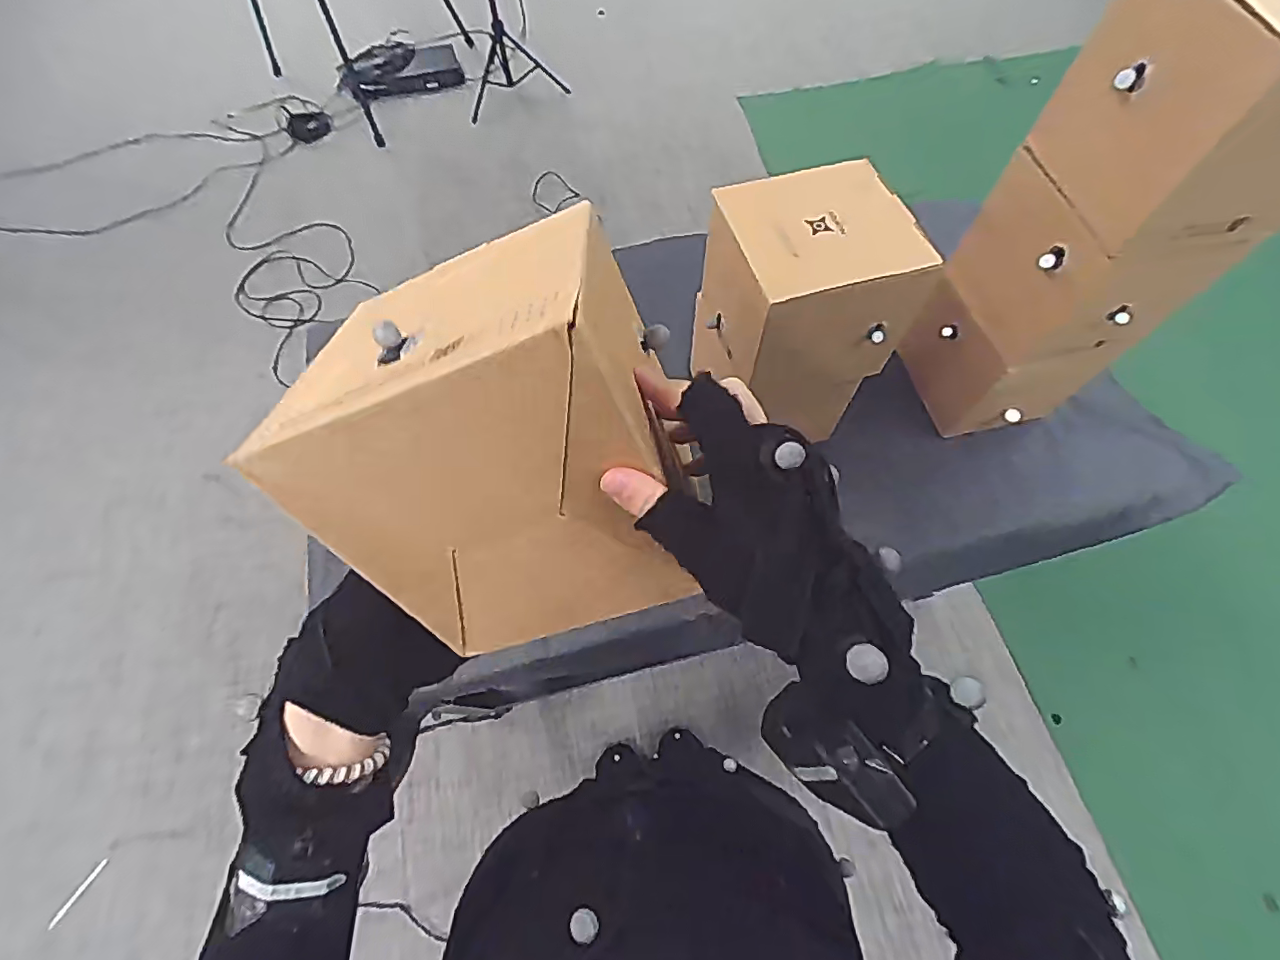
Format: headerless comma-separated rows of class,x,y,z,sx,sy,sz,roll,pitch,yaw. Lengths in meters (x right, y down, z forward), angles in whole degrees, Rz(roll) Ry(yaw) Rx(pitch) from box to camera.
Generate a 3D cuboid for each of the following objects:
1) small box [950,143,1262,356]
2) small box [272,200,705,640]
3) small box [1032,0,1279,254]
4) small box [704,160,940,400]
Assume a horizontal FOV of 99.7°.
small box,0.500,-0.259,0.616,0.168,0.176,0.179,-10,65,-3
small box,-0.065,-0.029,0.325,0.168,0.179,0.176,-18,40,12
small box,0.494,-0.328,0.467,0.168,0.176,0.179,-9,64,-2
small box,0.182,-0.215,0.605,0.179,0.176,0.168,-15,64,-5
